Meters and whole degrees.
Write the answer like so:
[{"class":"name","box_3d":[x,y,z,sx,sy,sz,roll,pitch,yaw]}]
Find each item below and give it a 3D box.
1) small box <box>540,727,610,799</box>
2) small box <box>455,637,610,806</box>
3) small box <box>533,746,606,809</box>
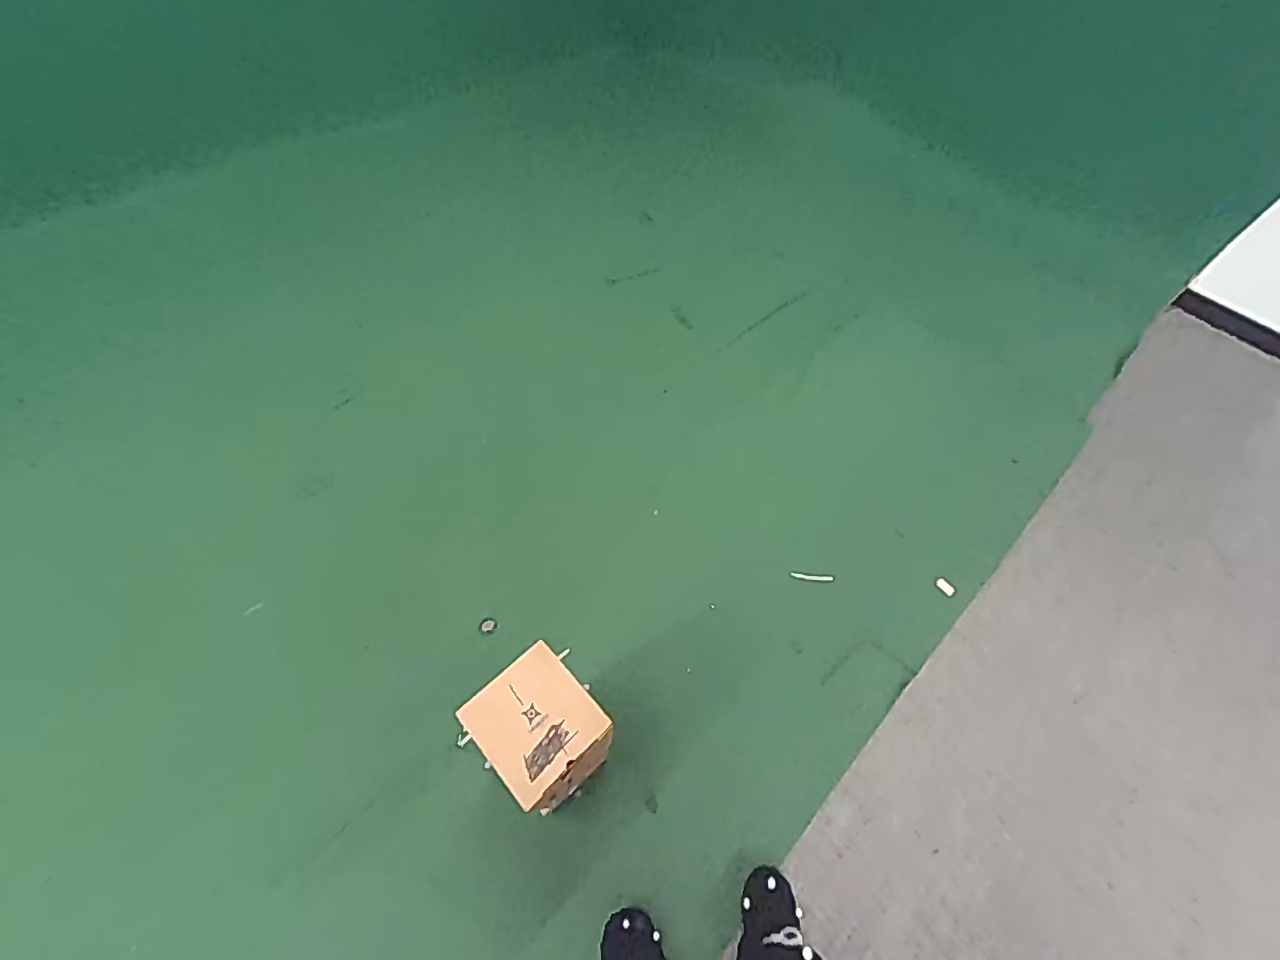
[{"class":"small box","box_3d":[-0.173,0.472,1.017,0.168,0.176,0.179,-38,68,-23]},{"class":"small box","box_3d":[-0.163,0.390,0.874,0.168,0.176,0.179,-38,68,-23]},{"class":"small box","box_3d":[-0.187,0.556,1.135,0.168,0.176,0.179,-36,68,-21]}]
